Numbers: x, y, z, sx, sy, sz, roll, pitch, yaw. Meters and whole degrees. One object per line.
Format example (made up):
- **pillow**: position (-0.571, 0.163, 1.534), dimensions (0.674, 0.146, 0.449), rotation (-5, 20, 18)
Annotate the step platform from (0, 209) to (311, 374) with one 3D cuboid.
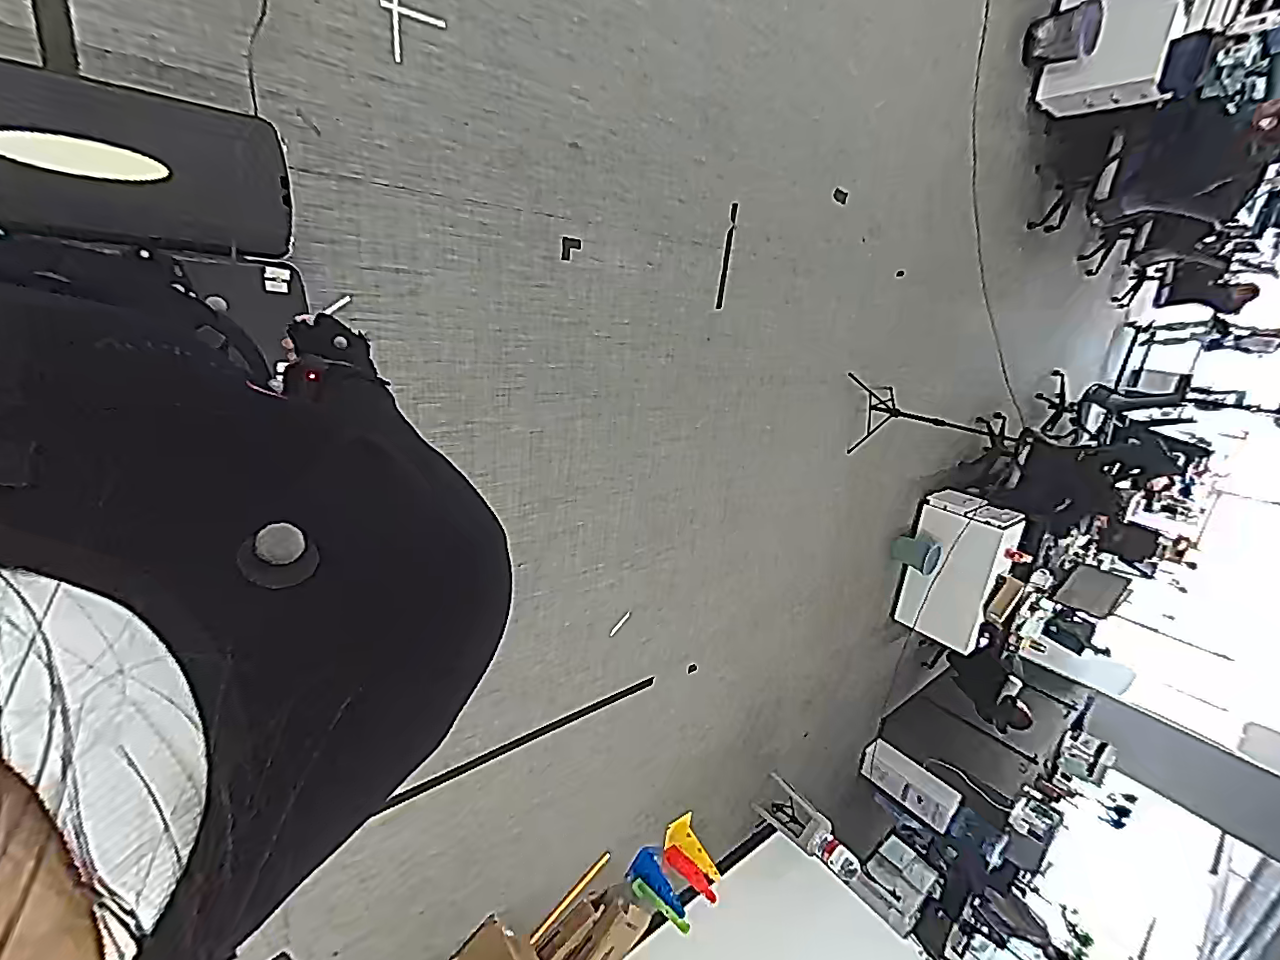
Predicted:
- **step platform**: position (-1.057, -0.364, 1.081), dimensions (0.684, 0.204, 0.286), rotation (-10, 113, -37)
